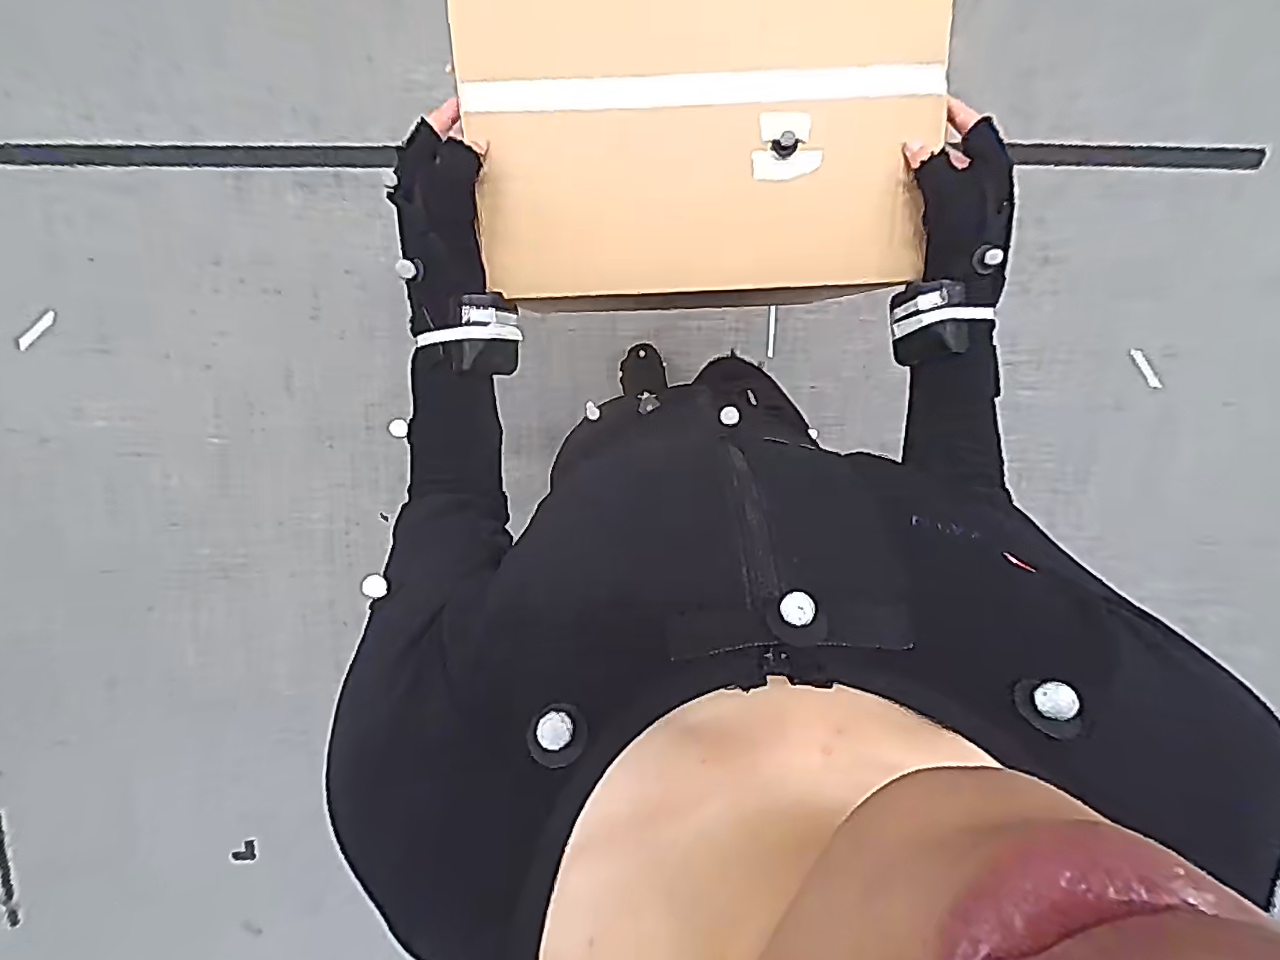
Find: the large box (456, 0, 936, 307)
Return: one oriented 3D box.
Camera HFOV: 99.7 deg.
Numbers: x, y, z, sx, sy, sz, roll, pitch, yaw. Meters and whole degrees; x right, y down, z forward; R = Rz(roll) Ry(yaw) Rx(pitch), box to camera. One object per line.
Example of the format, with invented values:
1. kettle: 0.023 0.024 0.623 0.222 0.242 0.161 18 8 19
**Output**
1. large box: 0.043 -0.374 0.604 0.408 0.320 0.320 -3 105 -2
